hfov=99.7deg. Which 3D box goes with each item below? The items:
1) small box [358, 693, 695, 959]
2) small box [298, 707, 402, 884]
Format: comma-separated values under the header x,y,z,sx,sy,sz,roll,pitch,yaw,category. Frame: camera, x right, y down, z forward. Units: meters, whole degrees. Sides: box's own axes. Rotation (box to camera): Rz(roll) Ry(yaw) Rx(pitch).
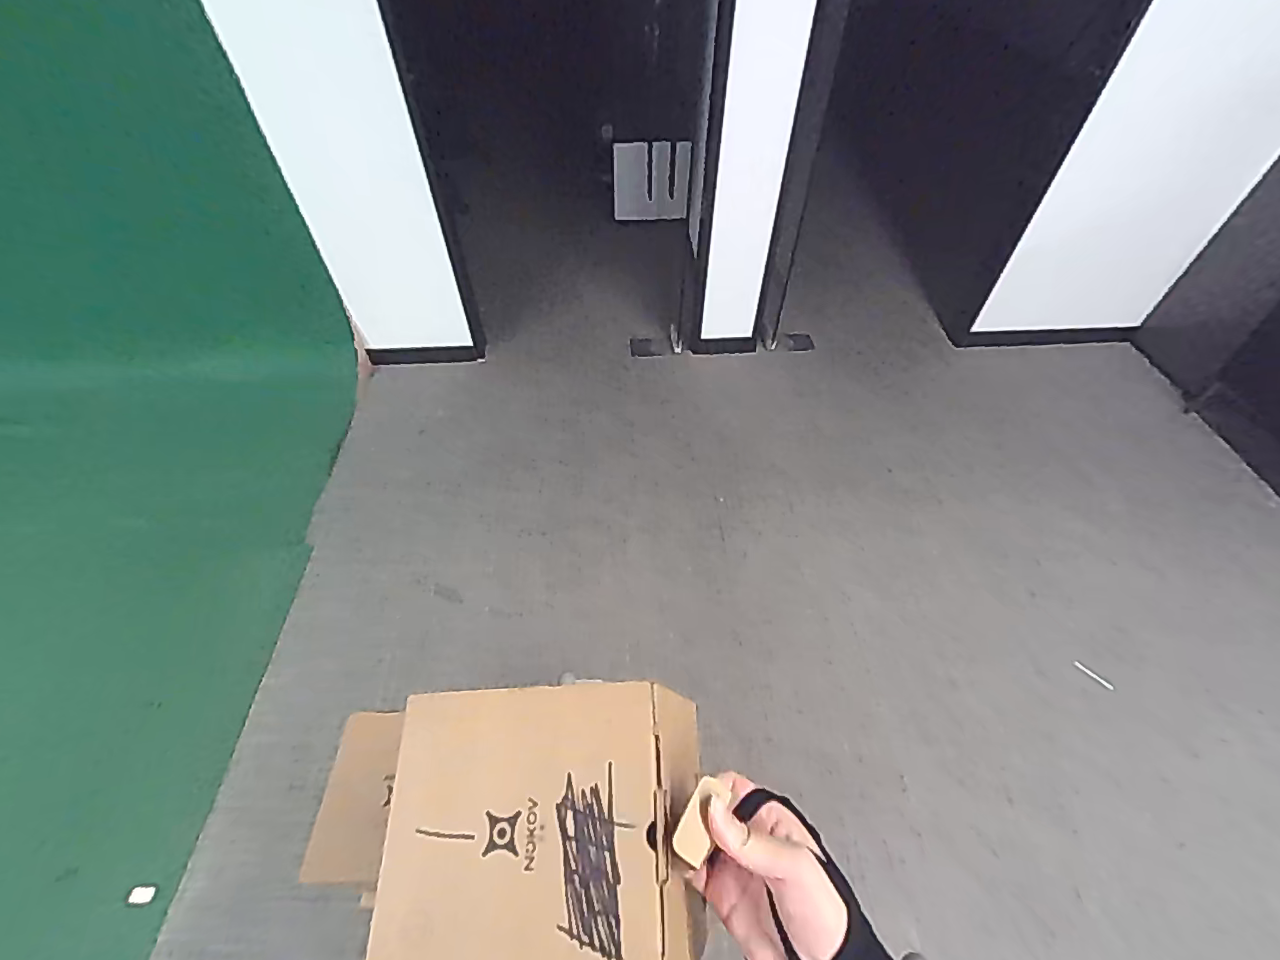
x,y,z,sx,sy,sz,roll,pitch,yaw,category
-0.057,0.245,0.383,0.179,0.176,0.168,-7,62,12,small box
-0.282,0.403,0.685,0.168,0.176,0.179,1,50,-1,small box
